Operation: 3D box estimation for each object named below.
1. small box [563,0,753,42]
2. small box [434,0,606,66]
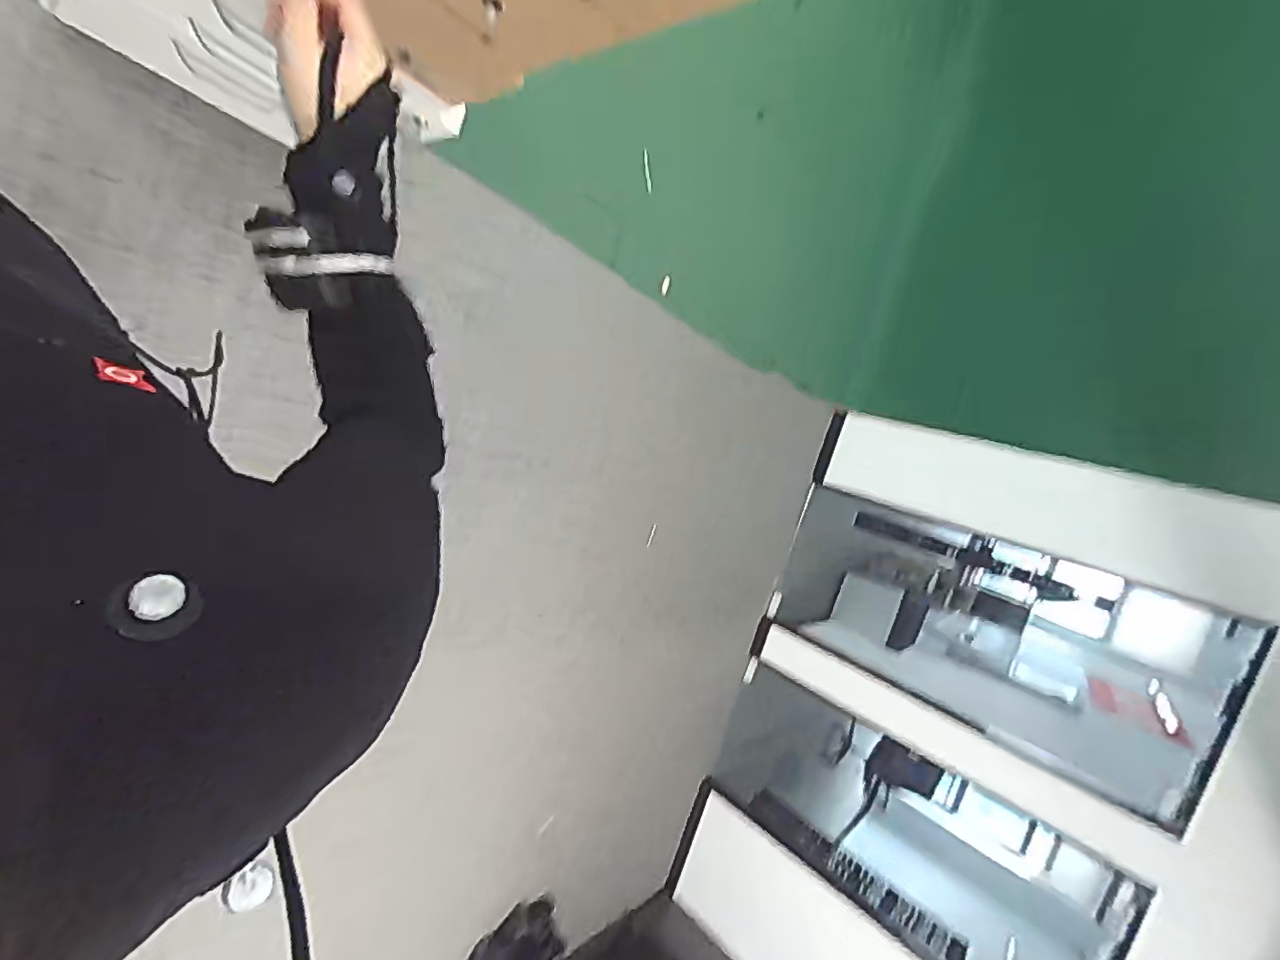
[{"bbox_3d":[0.004,-0.483,0.400,0.168,0.176,0.179,12,97,-51],"label":"small box"},{"bbox_3d":[-0.115,-0.532,0.501,0.168,0.176,0.179,8,101,-51],"label":"small box"}]
